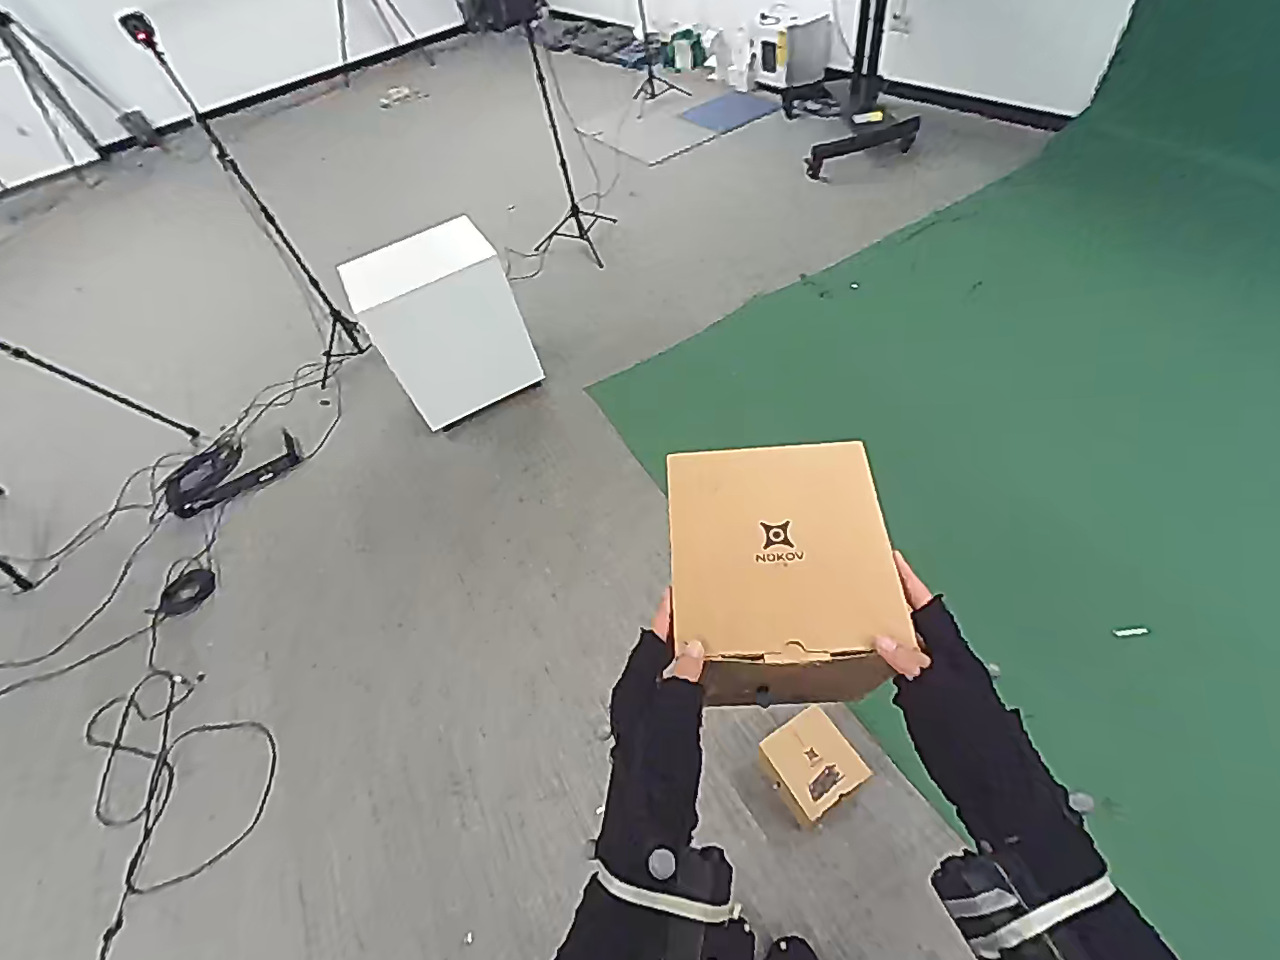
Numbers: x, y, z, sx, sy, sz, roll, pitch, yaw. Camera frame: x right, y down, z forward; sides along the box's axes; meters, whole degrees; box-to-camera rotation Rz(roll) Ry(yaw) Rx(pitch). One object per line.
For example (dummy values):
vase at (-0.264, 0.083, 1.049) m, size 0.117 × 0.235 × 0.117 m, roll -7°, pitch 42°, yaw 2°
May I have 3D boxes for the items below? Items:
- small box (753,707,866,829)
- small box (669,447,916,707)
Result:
small box at (0.373, 0.652, 1.214) m, size 0.168 × 0.176 × 0.179 m, roll -29°, pitch 51°, yaw -13°
small box at (0.112, 0.092, 0.481) m, size 0.168 × 0.176 × 0.179 m, roll -4°, pitch 57°, yaw 5°
